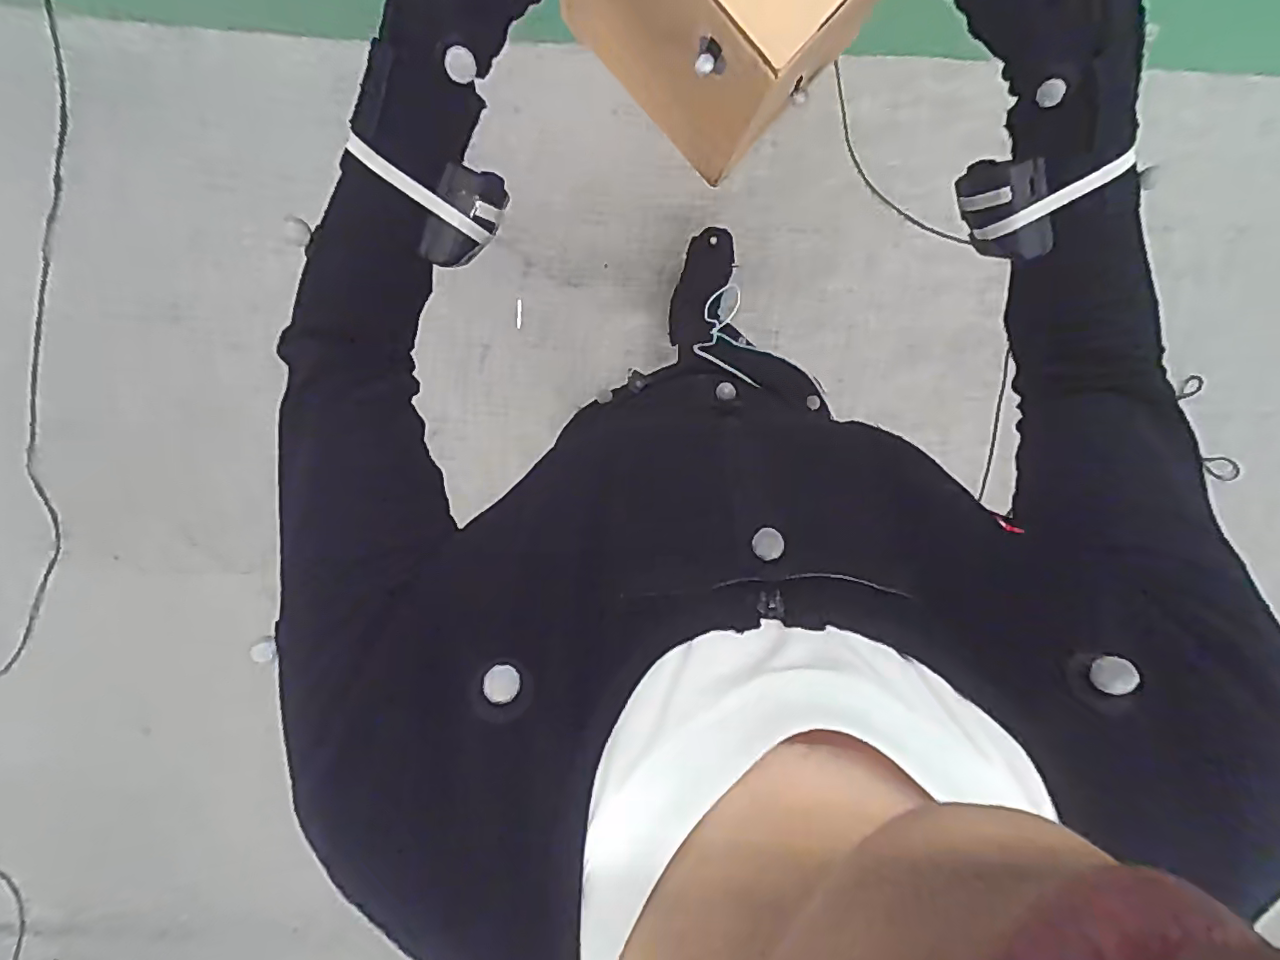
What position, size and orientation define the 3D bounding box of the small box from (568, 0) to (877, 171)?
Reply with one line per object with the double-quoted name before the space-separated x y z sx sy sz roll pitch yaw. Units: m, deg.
"small box" 0.061 -0.353 0.361 0.179 0.176 0.168 44 94 -12
